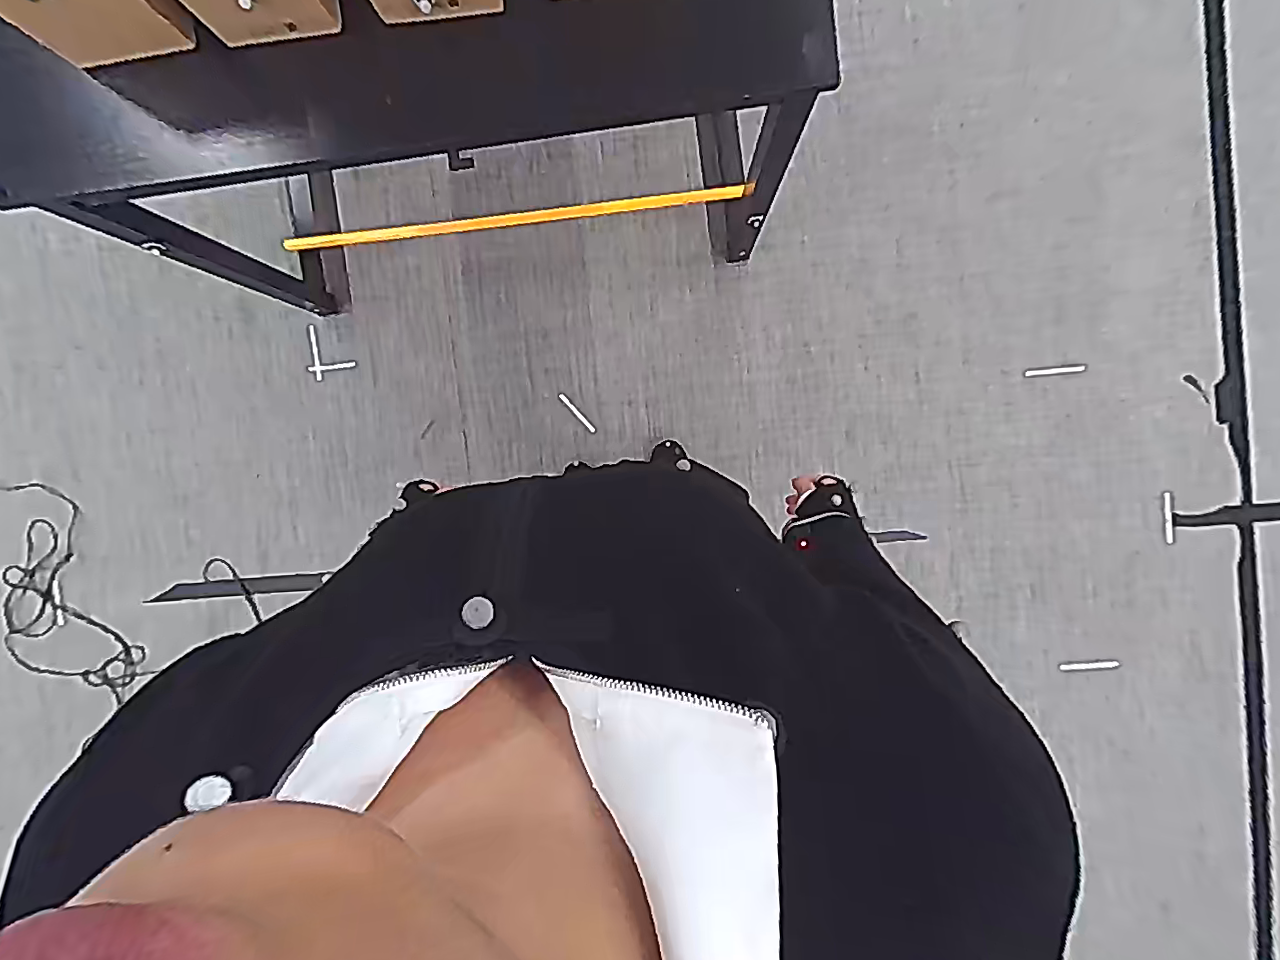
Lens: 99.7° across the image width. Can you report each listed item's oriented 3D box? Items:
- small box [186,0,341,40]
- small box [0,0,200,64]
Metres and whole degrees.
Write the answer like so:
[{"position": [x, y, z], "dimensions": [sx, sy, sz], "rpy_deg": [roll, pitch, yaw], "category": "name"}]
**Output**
[{"position": [-0.499, -0.689, 0.668], "dimensions": [0.168, 0.176, 0.179], "rpy_deg": [-5, 93, 3], "category": "small box"}, {"position": [-0.713, -0.666, 0.677], "dimensions": [0.179, 0.176, 0.168], "rpy_deg": [-8, 93, 2], "category": "small box"}]
